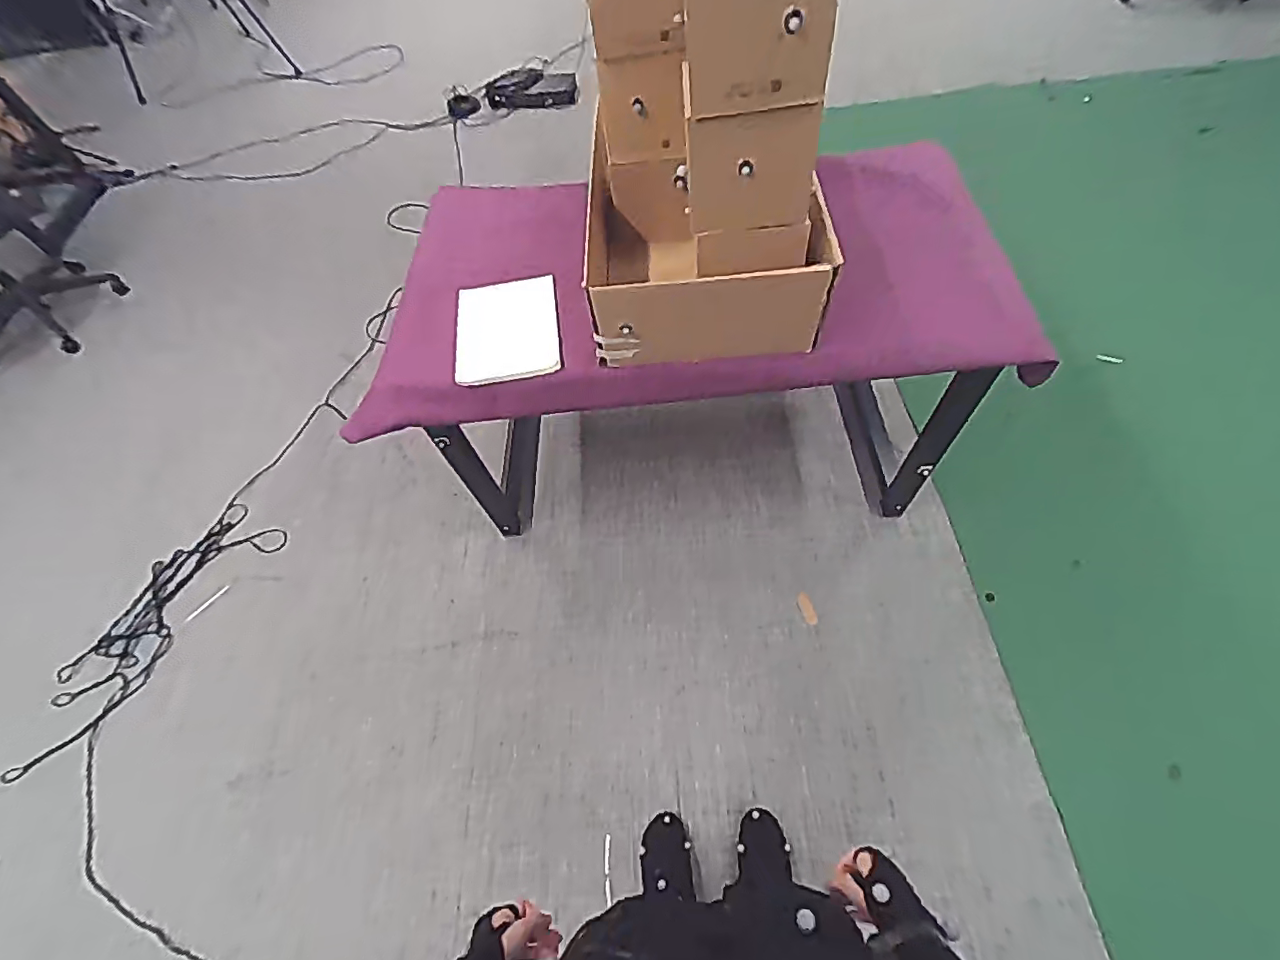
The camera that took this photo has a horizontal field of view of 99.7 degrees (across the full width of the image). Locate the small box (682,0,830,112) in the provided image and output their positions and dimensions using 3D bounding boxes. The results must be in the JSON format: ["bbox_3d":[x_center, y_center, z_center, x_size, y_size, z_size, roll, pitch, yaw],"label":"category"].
[{"bbox_3d":[0.136,-0.578,0.663,0.168,0.176,0.179,-2,57,7],"label":"small box"}]

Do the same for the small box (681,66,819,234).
[{"bbox_3d":[0.153,-0.493,0.802,0.179,0.176,0.168,-3,57,7],"label":"small box"}]
